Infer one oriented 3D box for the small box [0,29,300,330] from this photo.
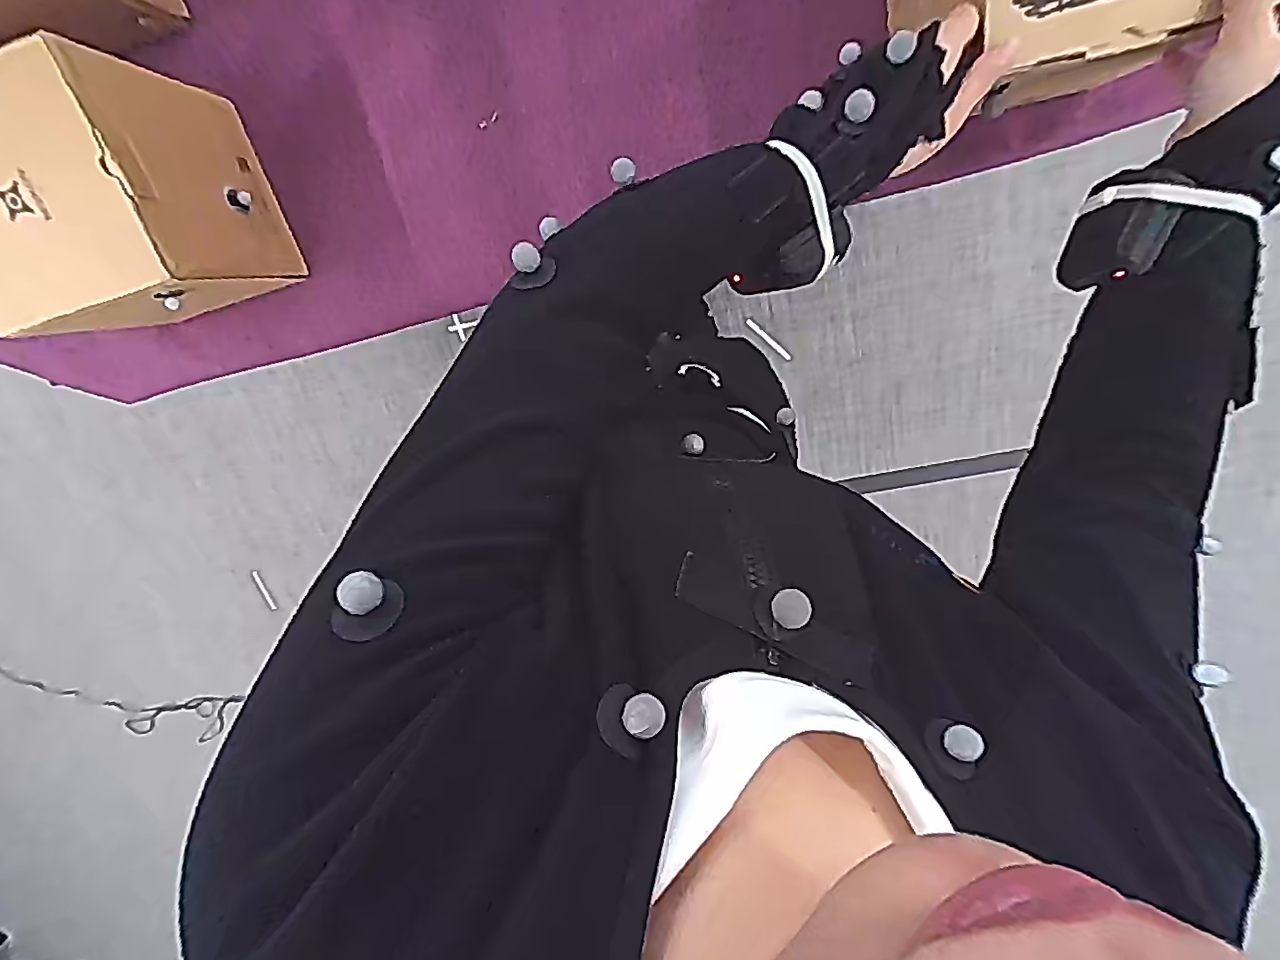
[{"bbox_3d":[-0.458,-0.241,0.479,0.179,0.176,0.168,-14,110,9],"label":"small box"}]
